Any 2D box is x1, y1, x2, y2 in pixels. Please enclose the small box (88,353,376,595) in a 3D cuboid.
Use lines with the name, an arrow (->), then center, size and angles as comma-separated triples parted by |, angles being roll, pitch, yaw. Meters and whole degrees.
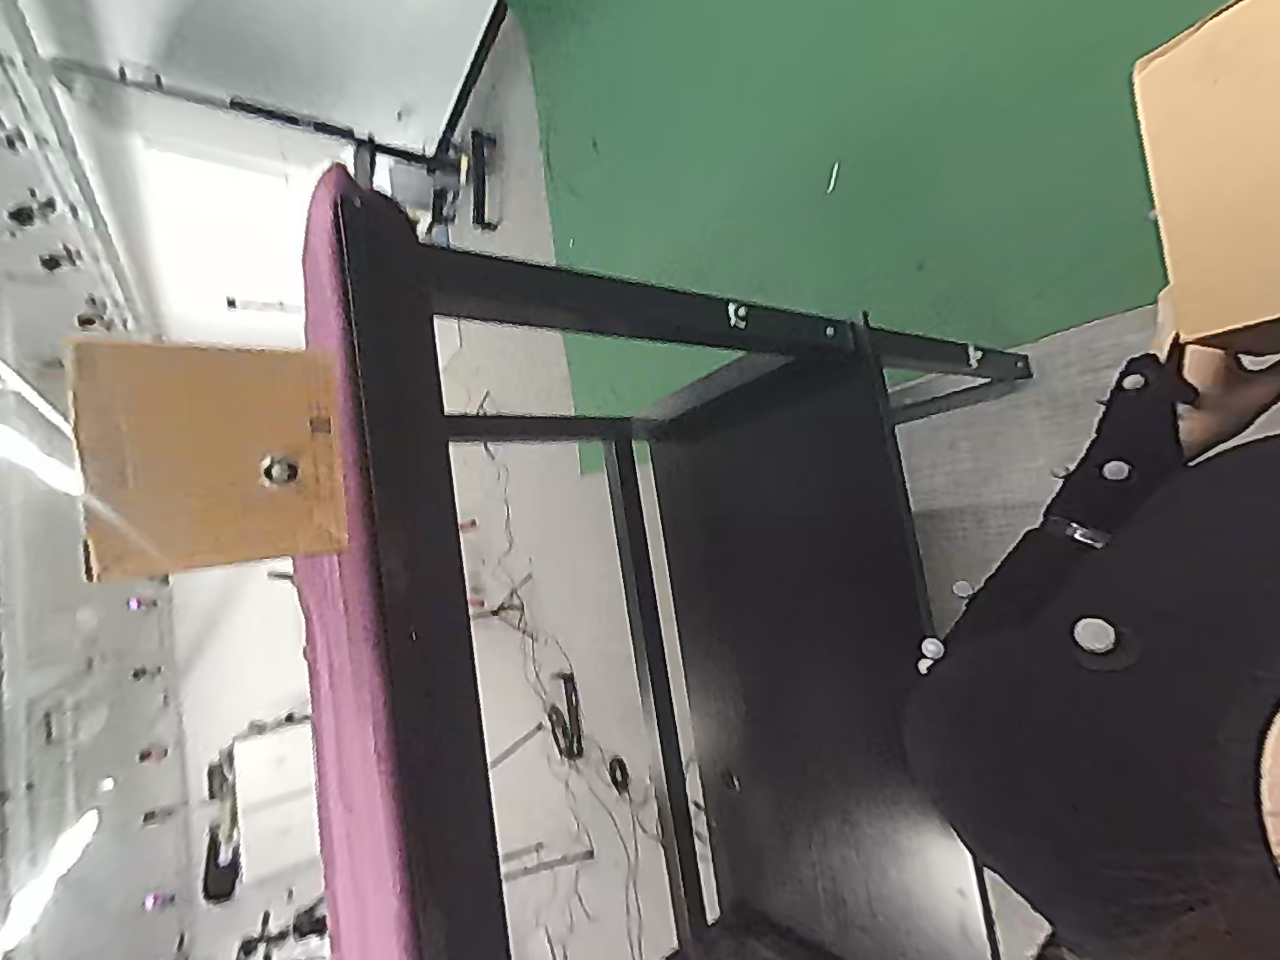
small box -> -0.340, -0.009, 0.472 | 0.179, 0.176, 0.168 | 0, 95, 52
